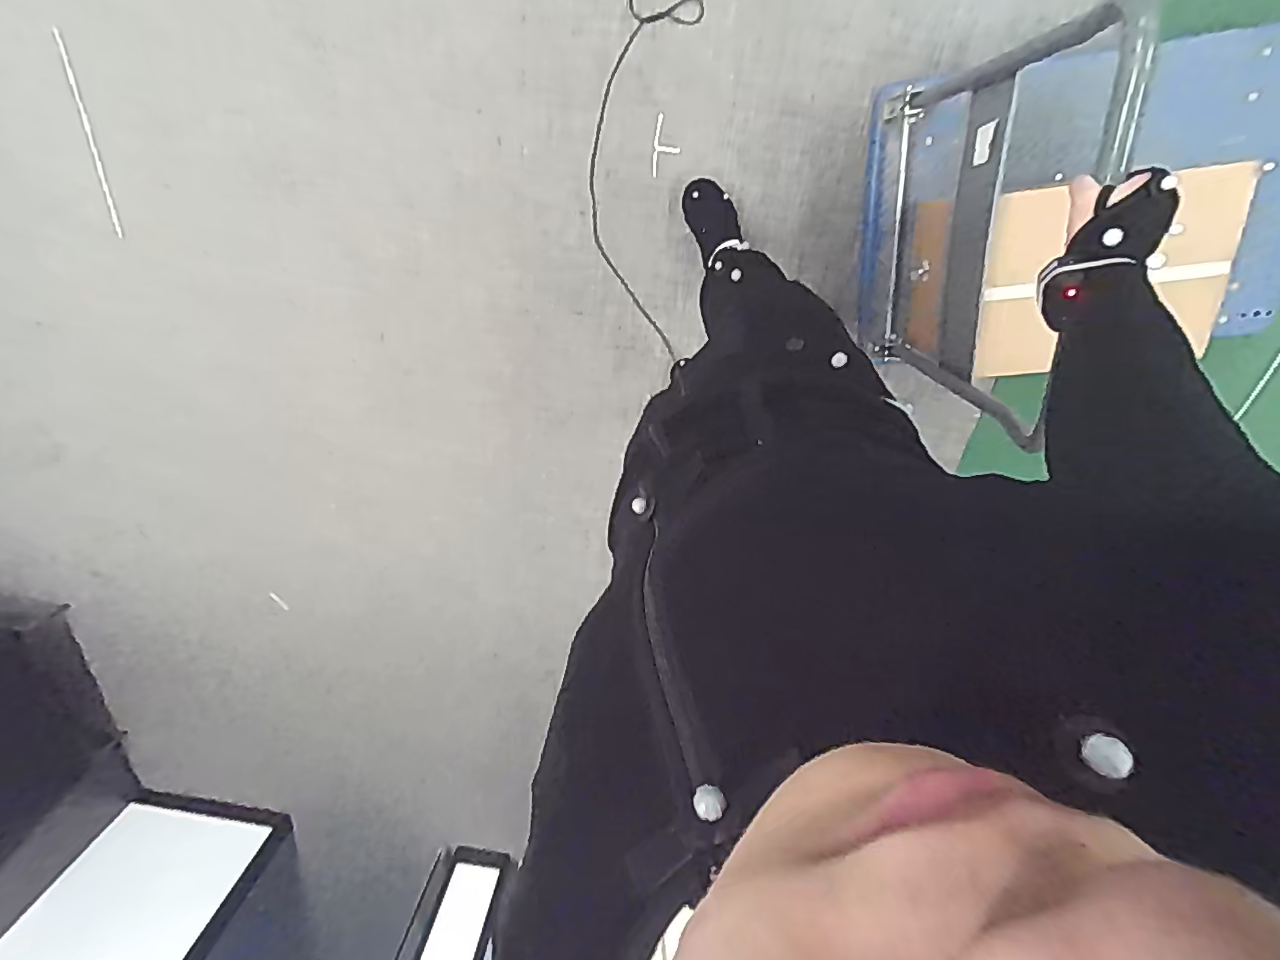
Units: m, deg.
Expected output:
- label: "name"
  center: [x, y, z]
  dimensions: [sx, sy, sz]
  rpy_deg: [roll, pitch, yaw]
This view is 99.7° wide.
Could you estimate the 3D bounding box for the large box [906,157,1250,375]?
- label: "large box"
  center: [0.788, -0.413, 1.064]
  dimensions: [0.408, 0.320, 0.320]
  rpy_deg: [-4, 116, 8]
